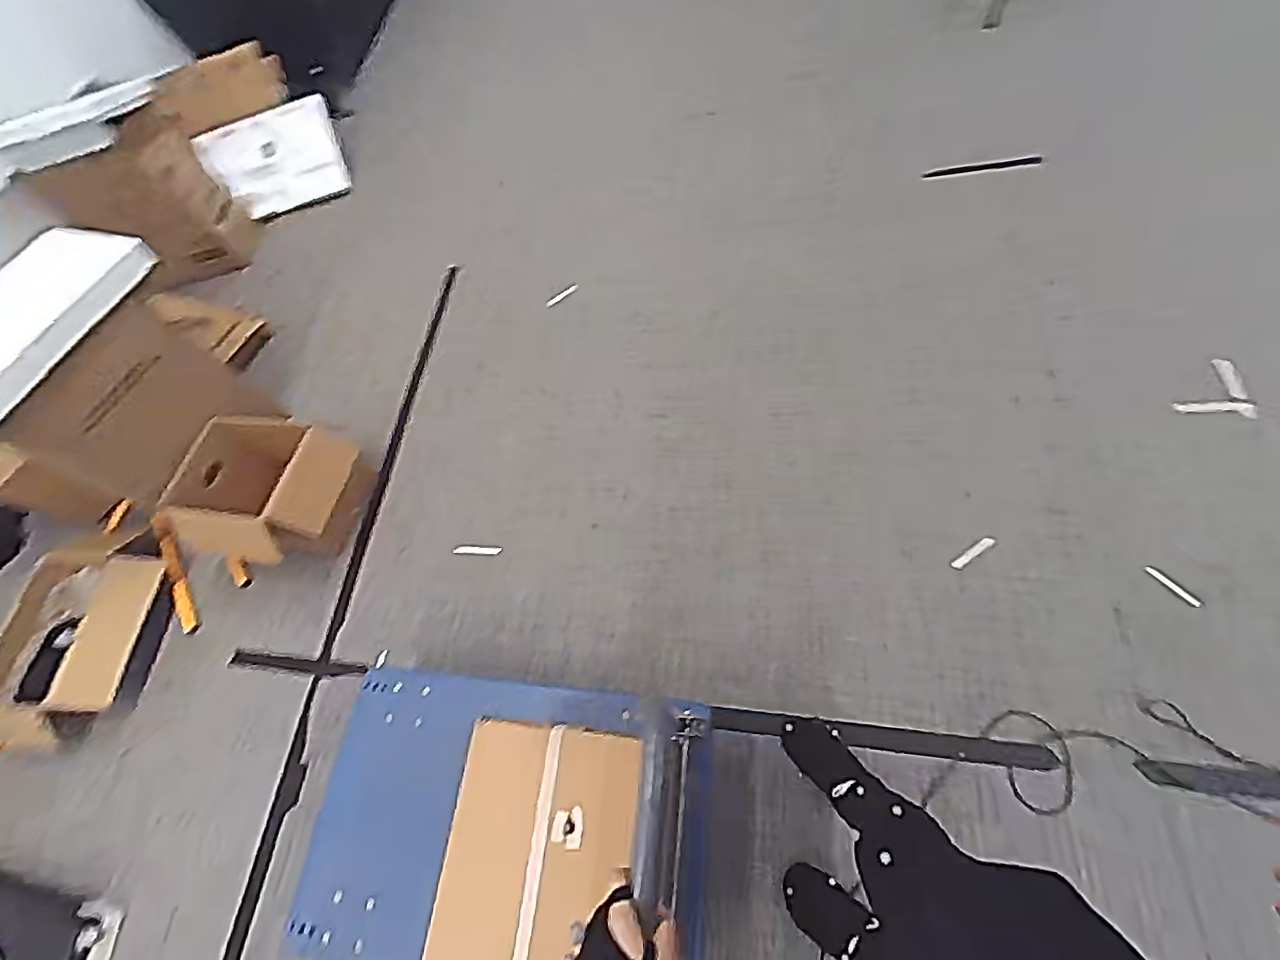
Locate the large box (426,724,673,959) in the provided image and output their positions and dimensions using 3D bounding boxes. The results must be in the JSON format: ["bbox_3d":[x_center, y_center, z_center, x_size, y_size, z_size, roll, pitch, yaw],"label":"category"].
[{"bbox_3d":[-0.129,0.676,0.963,0.320,0.320,0.408,1,63,13],"label":"large box"}]
